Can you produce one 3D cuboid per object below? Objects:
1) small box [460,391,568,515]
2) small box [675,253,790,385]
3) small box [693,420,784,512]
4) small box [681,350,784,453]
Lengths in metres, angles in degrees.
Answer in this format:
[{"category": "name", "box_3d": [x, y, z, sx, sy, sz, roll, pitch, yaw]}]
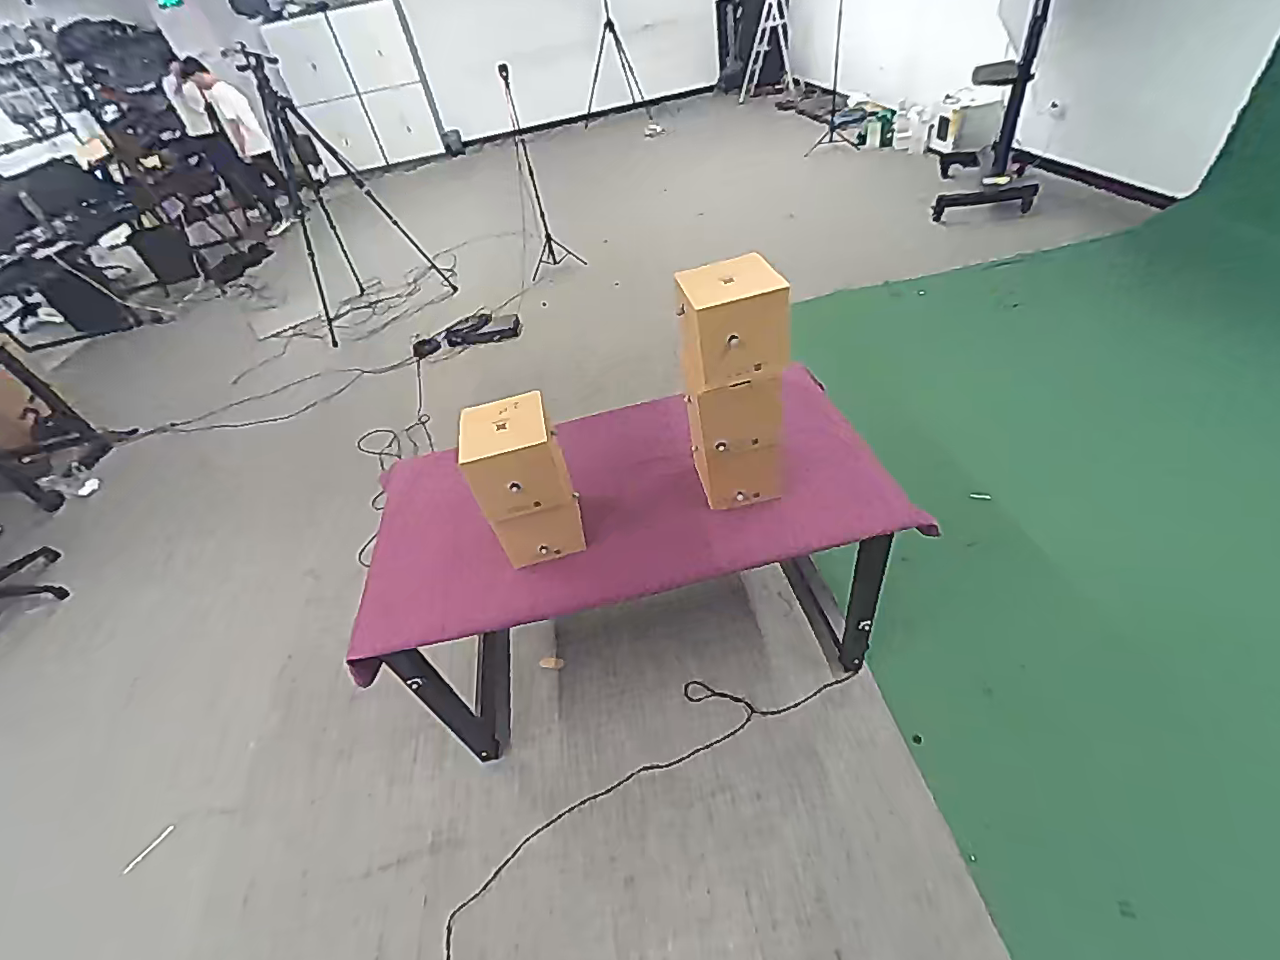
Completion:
[{"category": "small box", "box_3d": [-0.247, -0.048, 1.083, 0.168, 0.176, 0.179, -14, 43, -2]}, {"category": "small box", "box_3d": [0.173, -0.293, 1.005, 0.168, 0.176, 0.179, -15, 41, 0]}, {"category": "small box", "box_3d": [0.220, -0.056, 1.224, 0.168, 0.176, 0.179, -13, 42, 2]}, {"category": "small box", "box_3d": [0.191, -0.172, 1.112, 0.168, 0.176, 0.179, -14, 41, 1]}]
